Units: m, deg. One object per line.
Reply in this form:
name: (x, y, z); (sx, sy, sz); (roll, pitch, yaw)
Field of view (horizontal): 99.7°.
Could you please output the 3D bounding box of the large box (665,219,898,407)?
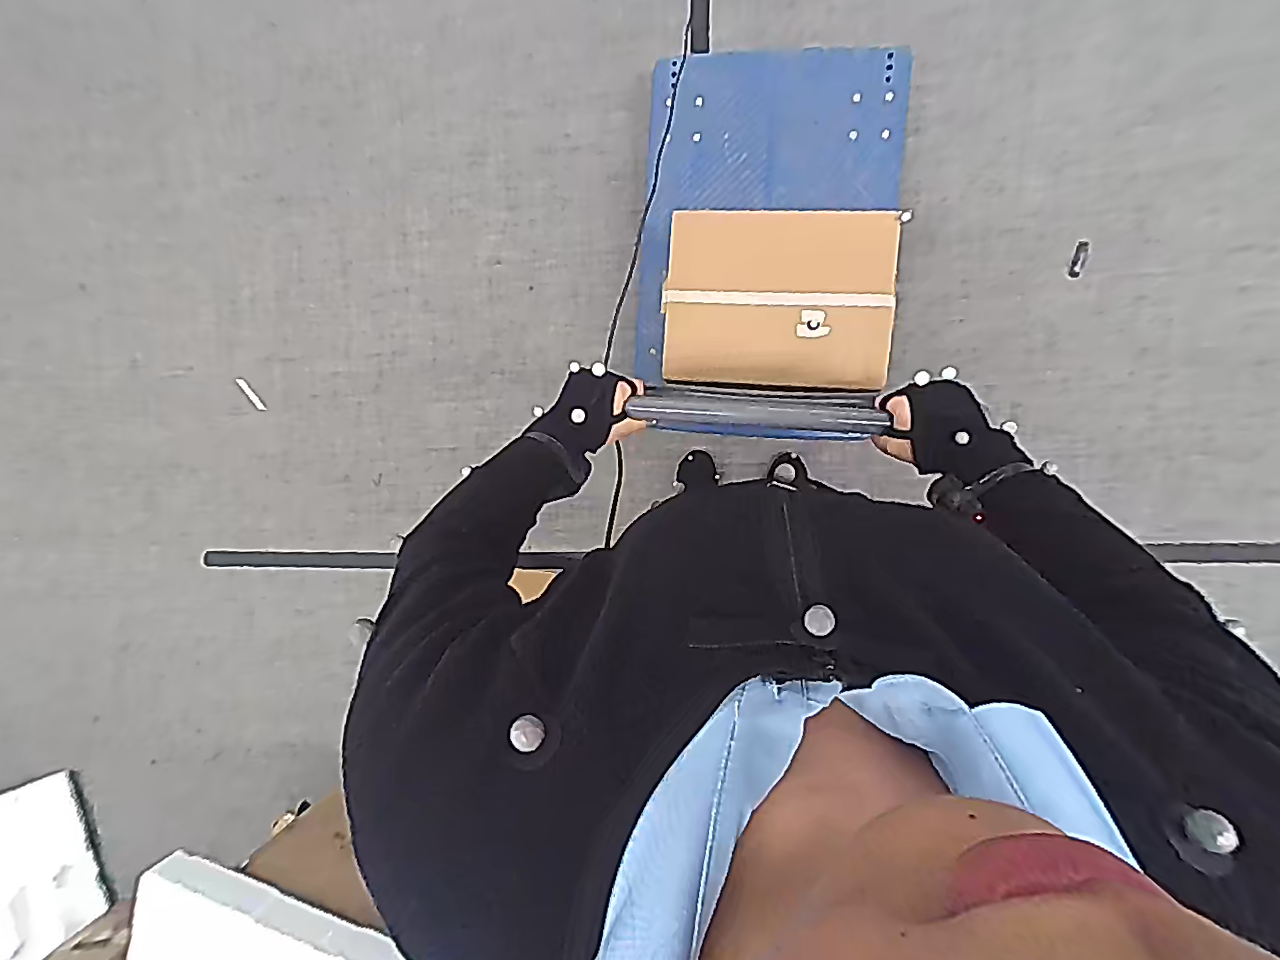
large box: (0.268, -0.325, 1.130); (0.408, 0.320, 0.320); (4, 95, 8)
